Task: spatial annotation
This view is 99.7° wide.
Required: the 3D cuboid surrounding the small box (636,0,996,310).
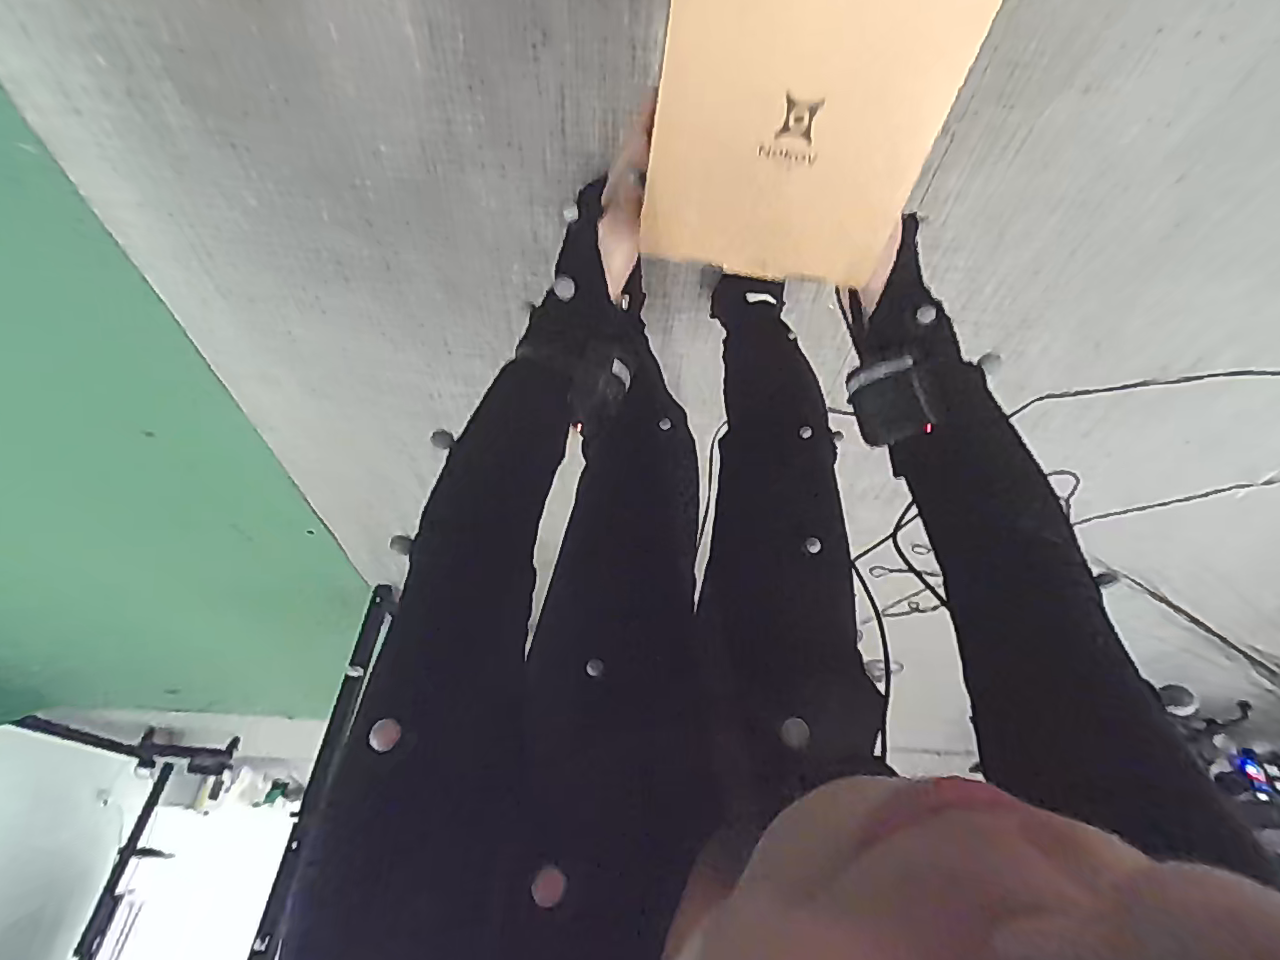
[{"bbox_3d":[0.090,-0.249,0.378,0.168,0.176,0.179,7,138,-3],"label":"small box"}]
